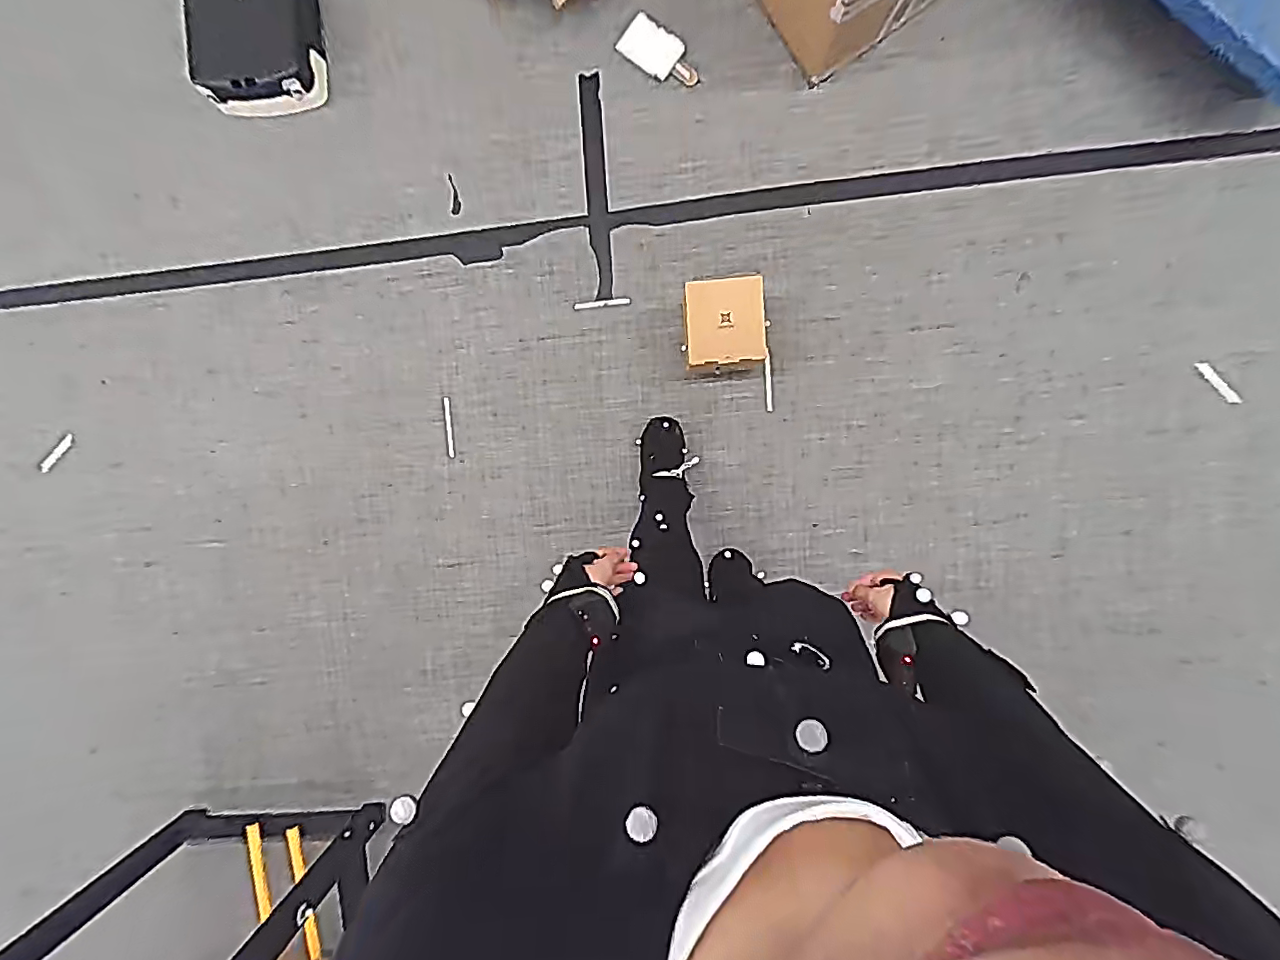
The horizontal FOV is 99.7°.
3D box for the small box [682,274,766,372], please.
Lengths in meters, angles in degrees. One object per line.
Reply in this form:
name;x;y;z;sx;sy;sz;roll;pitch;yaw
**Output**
small box;0.184;-0.346;1.216;0.168;0.176;0.179;-4;95;3
